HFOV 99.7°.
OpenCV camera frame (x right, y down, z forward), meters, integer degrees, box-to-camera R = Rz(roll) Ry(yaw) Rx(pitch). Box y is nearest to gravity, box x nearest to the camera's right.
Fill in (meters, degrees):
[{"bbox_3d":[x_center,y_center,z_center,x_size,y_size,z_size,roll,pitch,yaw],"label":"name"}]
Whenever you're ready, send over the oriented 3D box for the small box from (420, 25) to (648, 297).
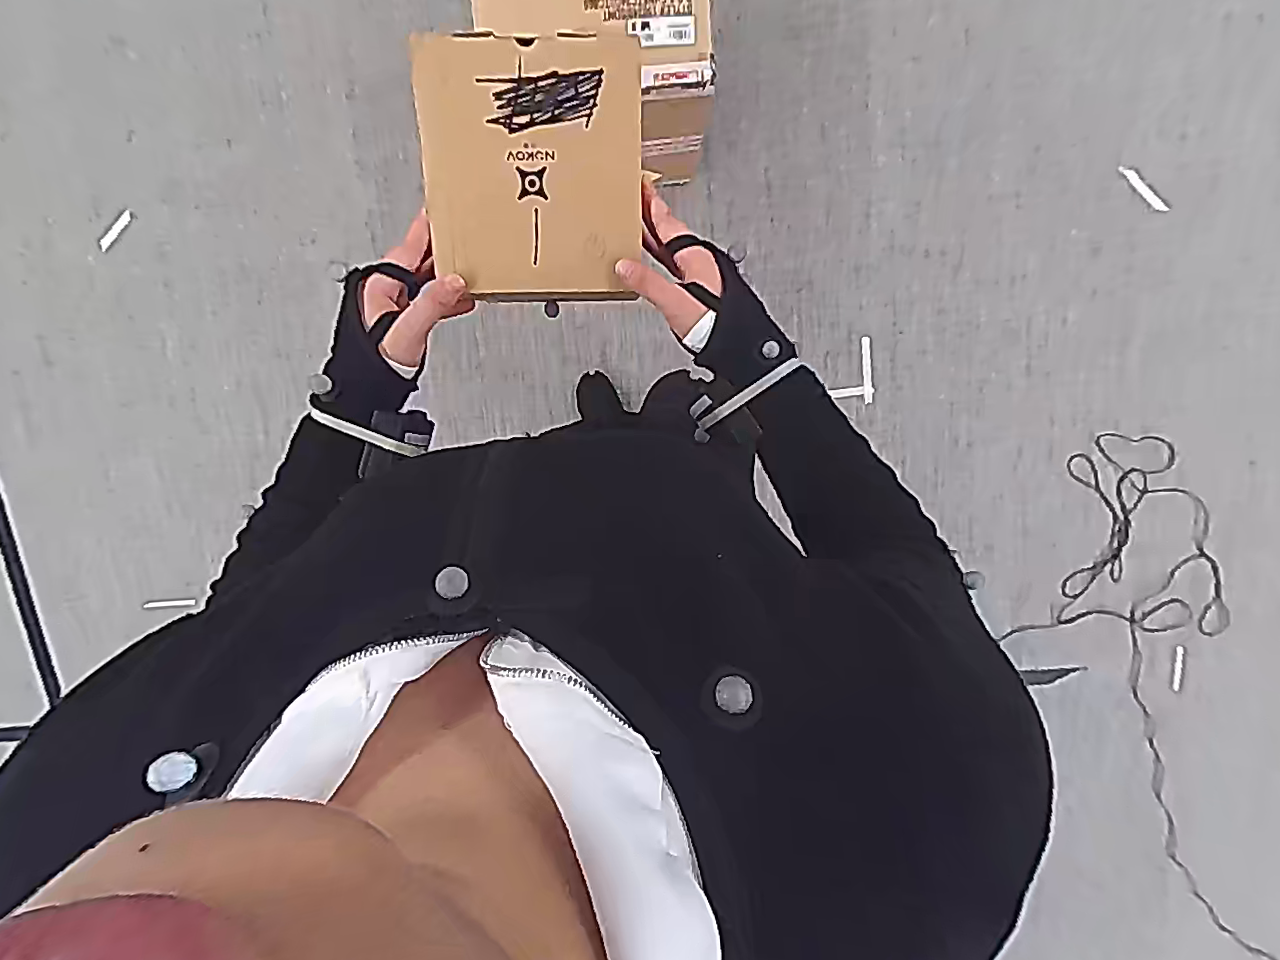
[{"bbox_3d":[-0.080,-0.262,0.487,0.168,0.176,0.179,-1,107,-2],"label":"small box"}]
